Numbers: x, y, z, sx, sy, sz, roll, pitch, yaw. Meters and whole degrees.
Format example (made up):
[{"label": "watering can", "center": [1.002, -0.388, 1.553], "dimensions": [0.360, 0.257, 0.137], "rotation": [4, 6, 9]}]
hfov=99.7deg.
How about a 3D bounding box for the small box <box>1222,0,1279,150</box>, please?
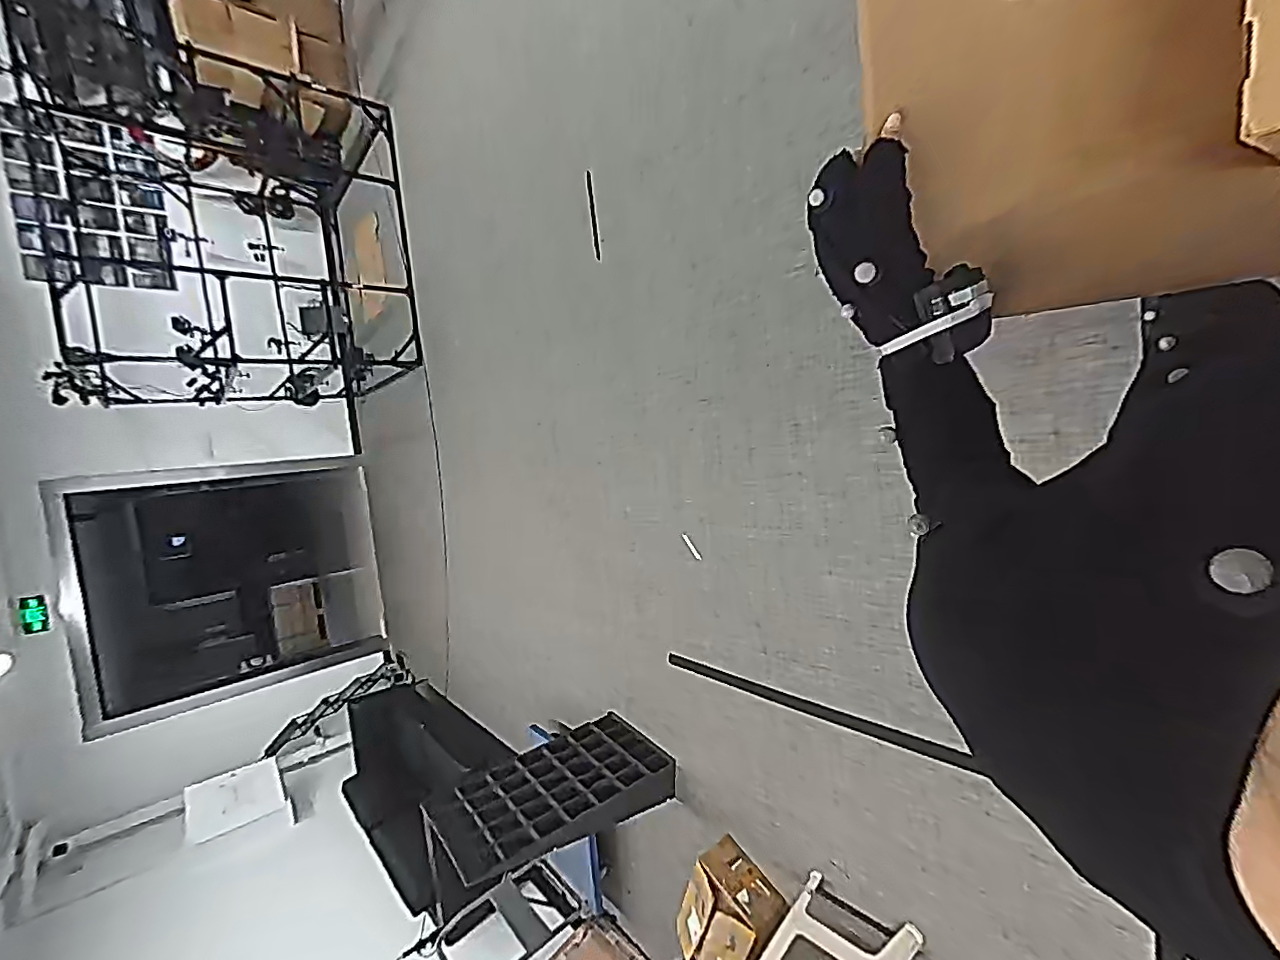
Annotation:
[{"label": "small box", "center": [0.442, -0.290, 0.269], "dimensions": [0.179, 0.176, 0.168], "rotation": [9, 110, 57]}]
